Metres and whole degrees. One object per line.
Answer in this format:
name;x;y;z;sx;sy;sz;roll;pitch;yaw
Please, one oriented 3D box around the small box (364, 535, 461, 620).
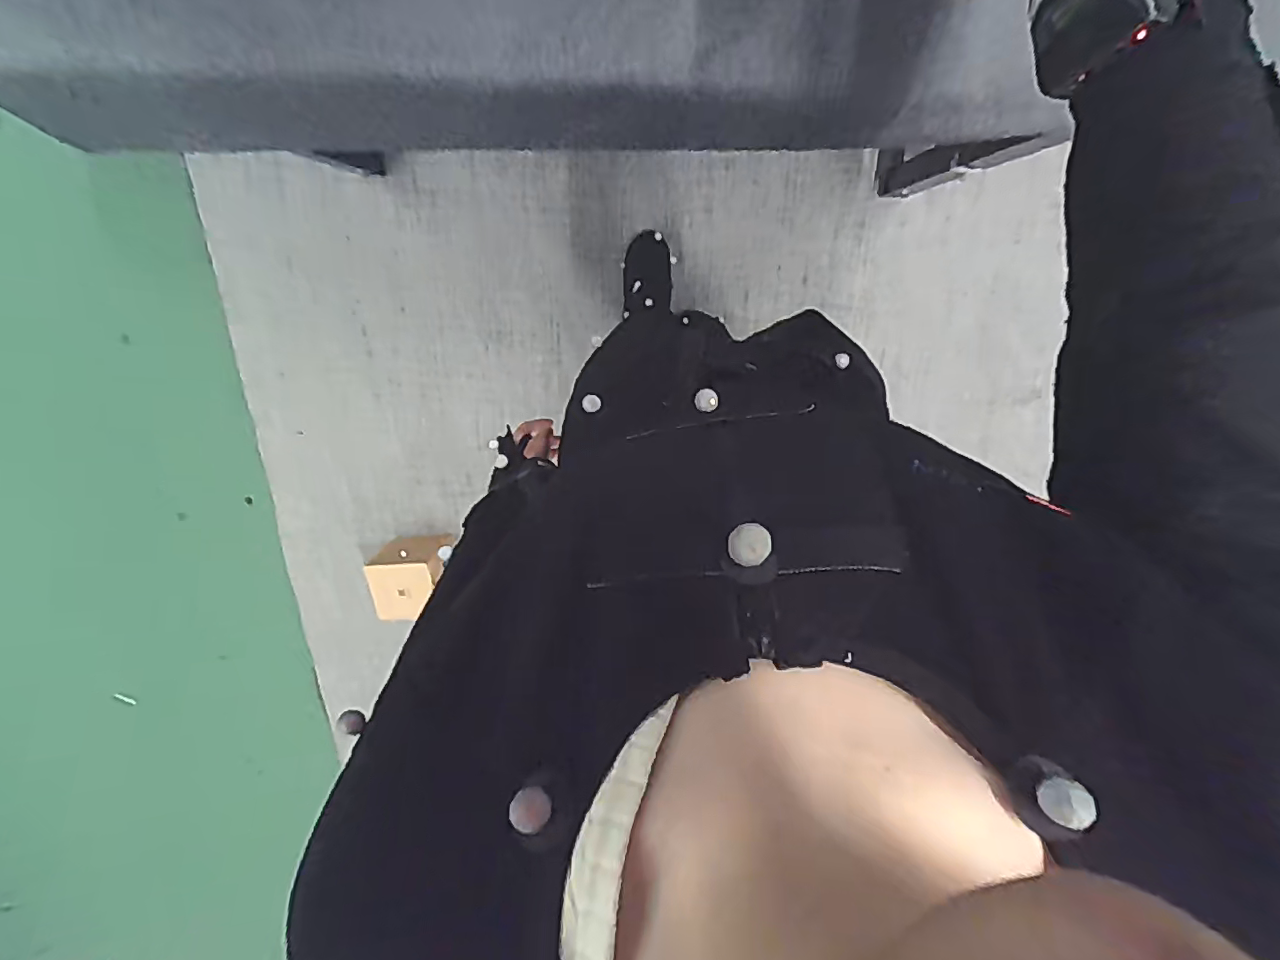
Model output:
small box;-0.601;0.258;1.461;0.179;0.176;0.168;-4;109;6
